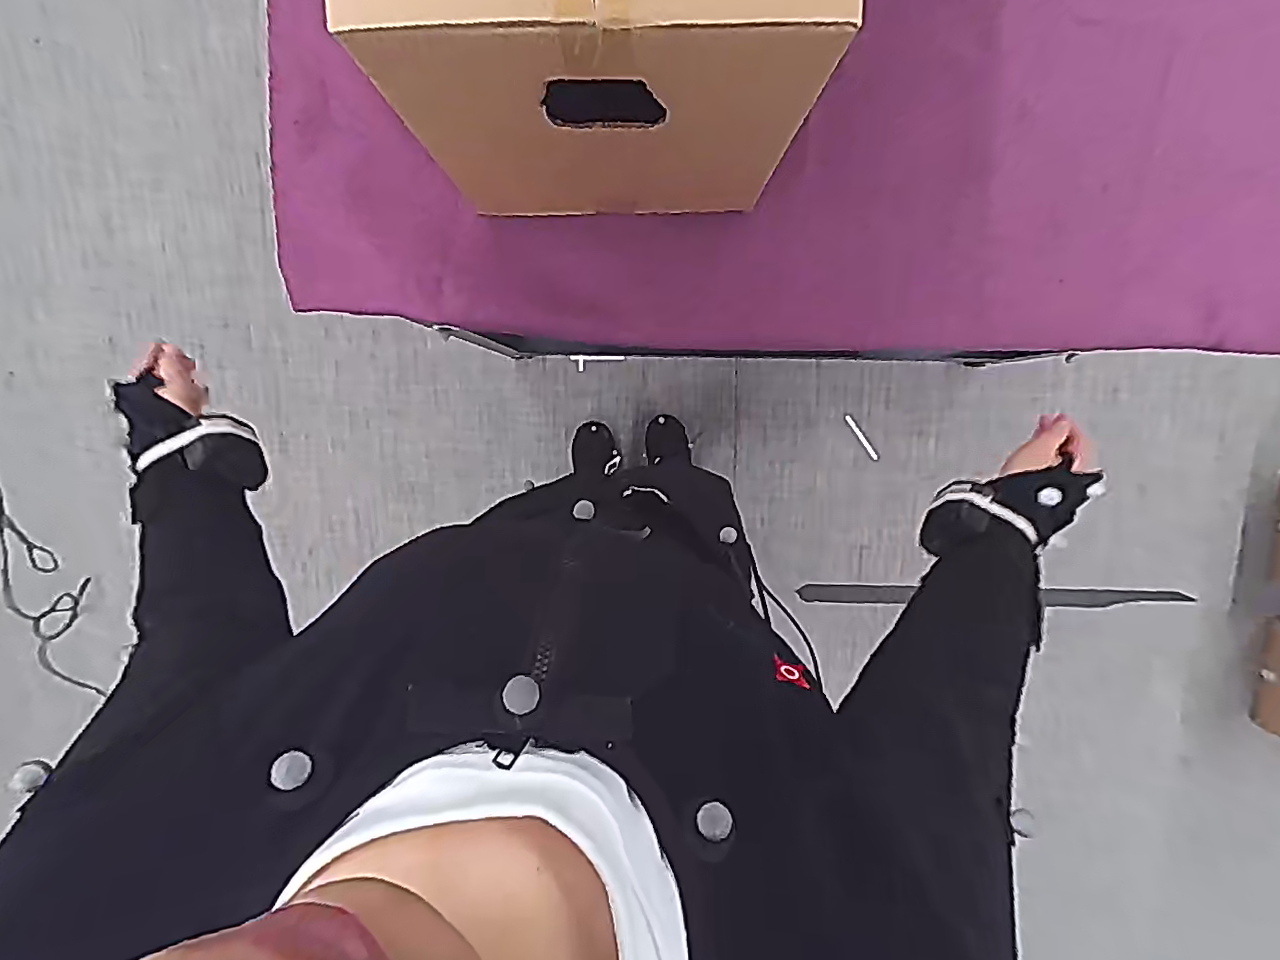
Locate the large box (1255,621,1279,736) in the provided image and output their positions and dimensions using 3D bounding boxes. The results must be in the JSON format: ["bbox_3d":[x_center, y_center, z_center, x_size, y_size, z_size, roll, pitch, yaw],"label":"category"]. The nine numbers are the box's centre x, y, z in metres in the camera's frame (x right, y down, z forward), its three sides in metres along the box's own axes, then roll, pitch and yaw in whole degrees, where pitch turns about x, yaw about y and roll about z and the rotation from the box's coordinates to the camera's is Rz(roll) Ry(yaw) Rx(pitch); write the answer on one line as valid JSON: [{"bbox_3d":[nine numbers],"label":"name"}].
[{"bbox_3d":[1.871,0.537,1.302,0.408,0.320,0.320,-1,98,1],"label":"large box"}]
